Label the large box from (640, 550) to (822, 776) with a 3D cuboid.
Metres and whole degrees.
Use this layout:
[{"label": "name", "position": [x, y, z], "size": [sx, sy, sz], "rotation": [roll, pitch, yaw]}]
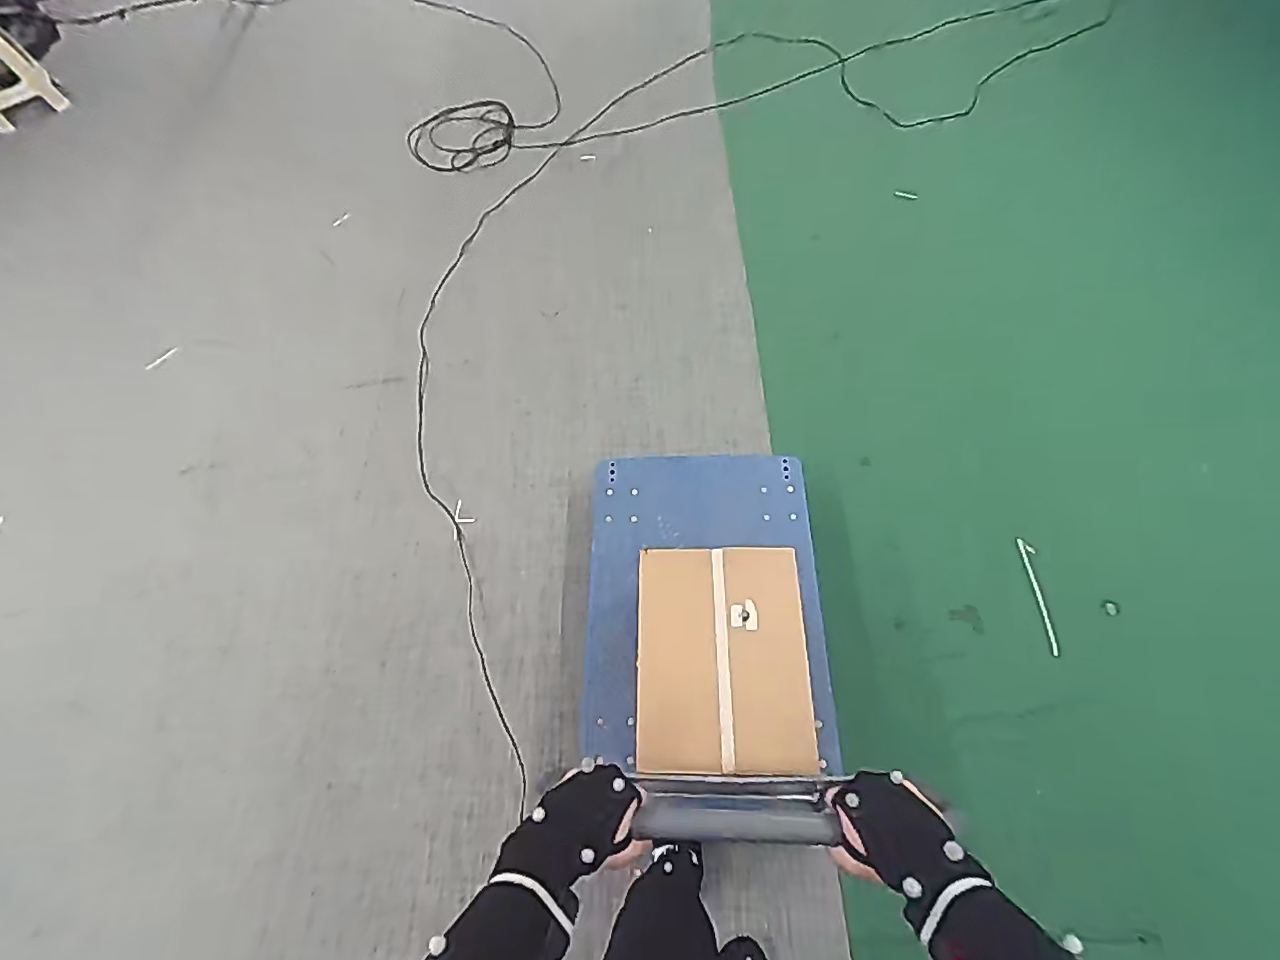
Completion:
[{"label": "large box", "position": [0.168, 0.391, 1.140], "size": [0.320, 0.320, 0.408], "rotation": [-1, 63, 4]}]
